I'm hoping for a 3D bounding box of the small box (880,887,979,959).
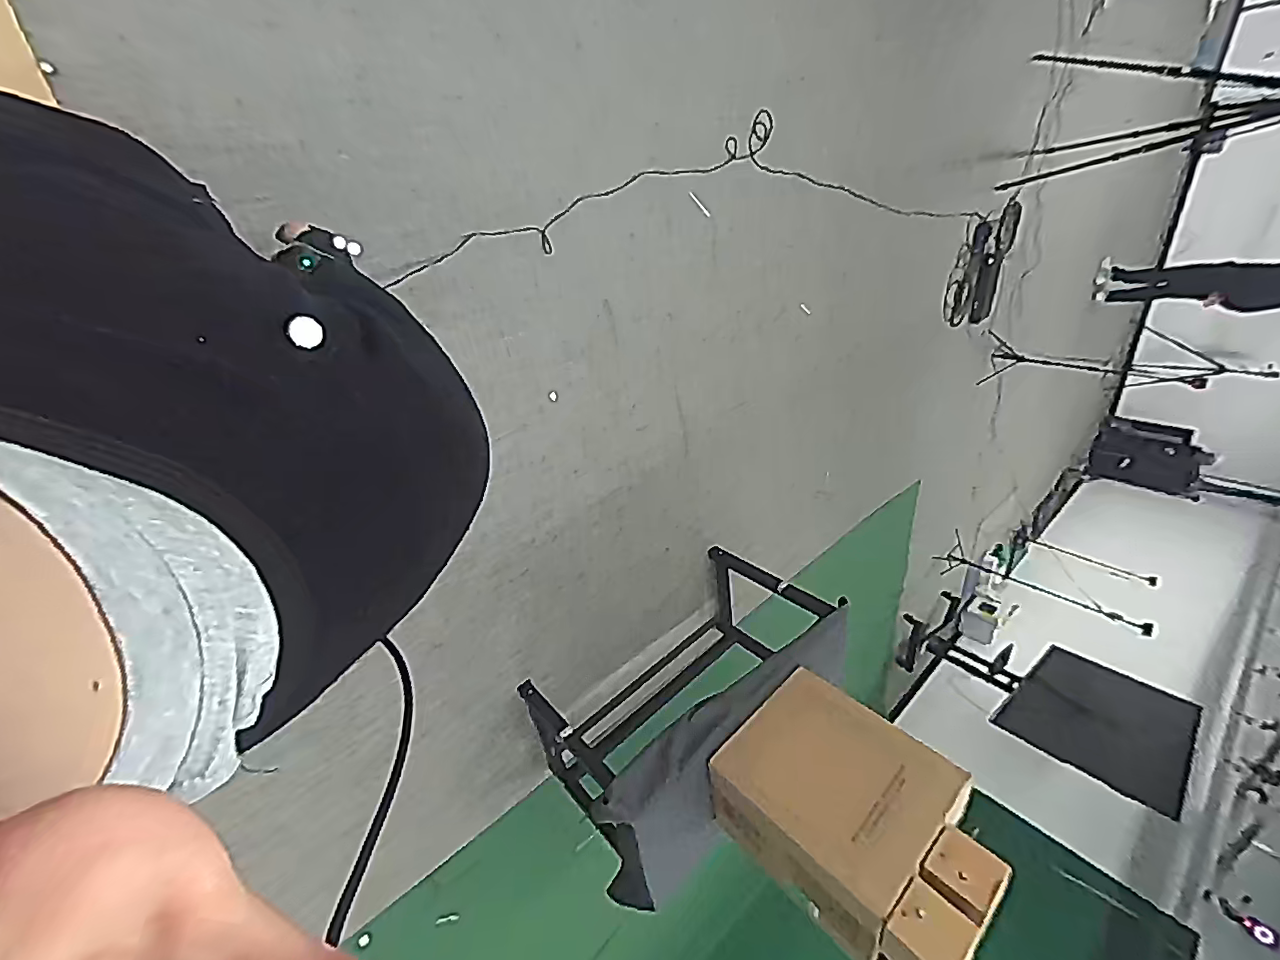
[{"bbox_3d":[0.748,1.222,1.413,0.168,0.176,0.179,-30,125,-29],"label":"small box"}]
